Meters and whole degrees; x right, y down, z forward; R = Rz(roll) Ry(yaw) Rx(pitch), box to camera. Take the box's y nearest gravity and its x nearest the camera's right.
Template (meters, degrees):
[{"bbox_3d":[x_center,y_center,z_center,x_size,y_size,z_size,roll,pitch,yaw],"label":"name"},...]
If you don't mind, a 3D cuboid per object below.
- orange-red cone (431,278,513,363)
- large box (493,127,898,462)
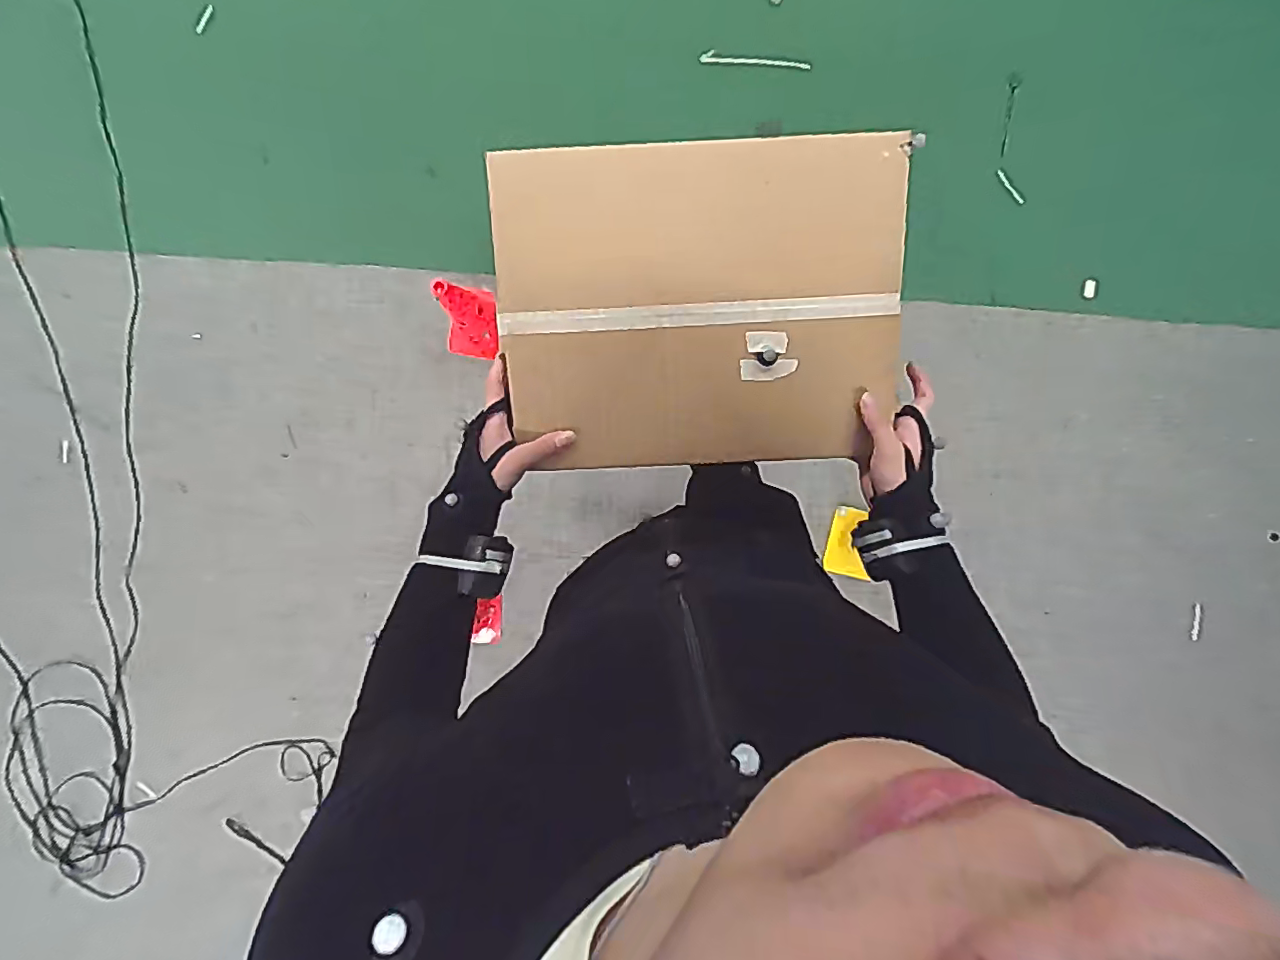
[{"bbox_3d":[-0.465,-0.453,1.429,0.199,0.360,0.198,12,92,2],"label":"orange-red cone"},{"bbox_3d":[0.059,-0.213,0.702,0.408,0.320,0.320,-3,104,0],"label":"large box"}]
